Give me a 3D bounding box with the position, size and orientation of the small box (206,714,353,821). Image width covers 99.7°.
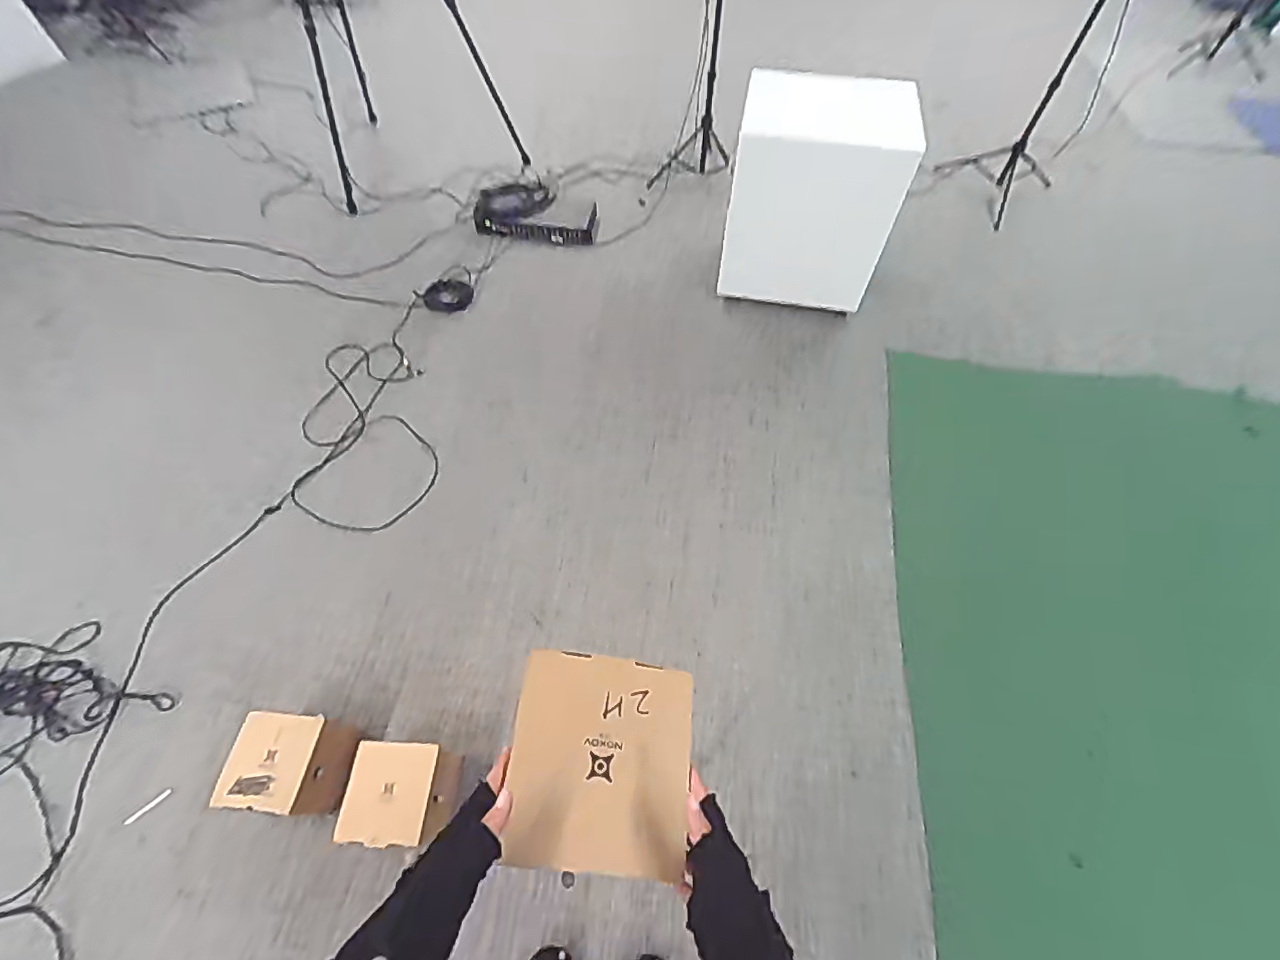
[{"bbox_3d":[-0.740,0.606,1.136,0.168,0.176,0.179,5,57,2],"label":"small box"}]

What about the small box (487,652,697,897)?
[{"bbox_3d":[-0.050,0.294,0.544,0.168,0.176,0.179,12,56,-9],"label":"small box"}]

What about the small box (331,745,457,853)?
[{"bbox_3d":[-0.491,0.654,1.111,0.168,0.176,0.179,2,59,1],"label":"small box"}]
